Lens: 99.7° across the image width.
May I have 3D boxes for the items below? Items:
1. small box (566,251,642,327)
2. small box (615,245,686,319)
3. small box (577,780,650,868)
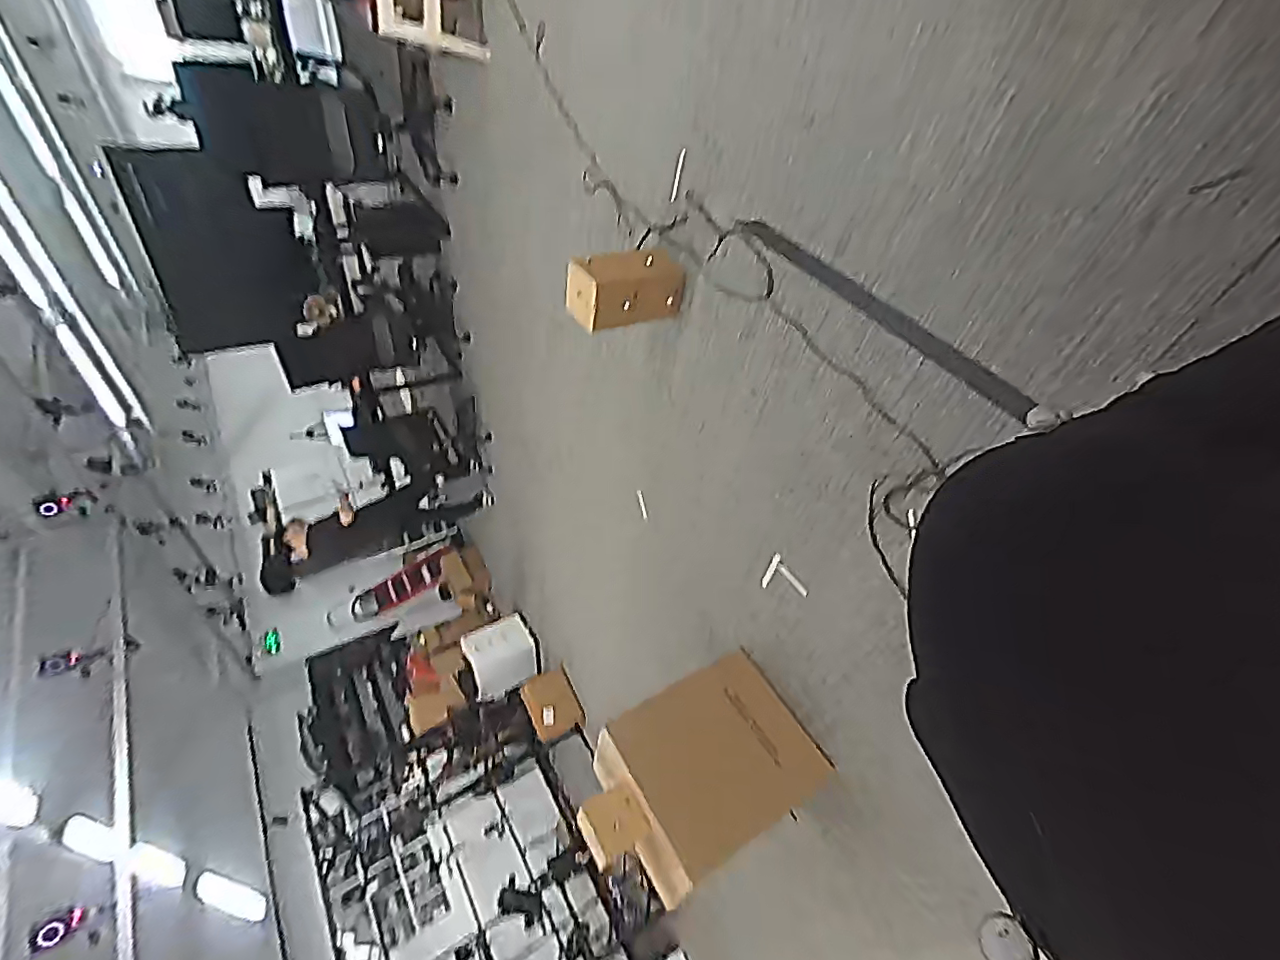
[{"bbox_3d":[-0.115,-0.601,1.687,0.179,0.176,0.168,50,146,33],"label":"small box"},{"bbox_3d":[0.021,-0.651,1.766,0.179,0.176,0.168,50,146,31],"label":"small box"},{"bbox_3d":[-0.086,1.107,1.747,0.168,0.176,0.179,51,147,31],"label":"small box"}]
